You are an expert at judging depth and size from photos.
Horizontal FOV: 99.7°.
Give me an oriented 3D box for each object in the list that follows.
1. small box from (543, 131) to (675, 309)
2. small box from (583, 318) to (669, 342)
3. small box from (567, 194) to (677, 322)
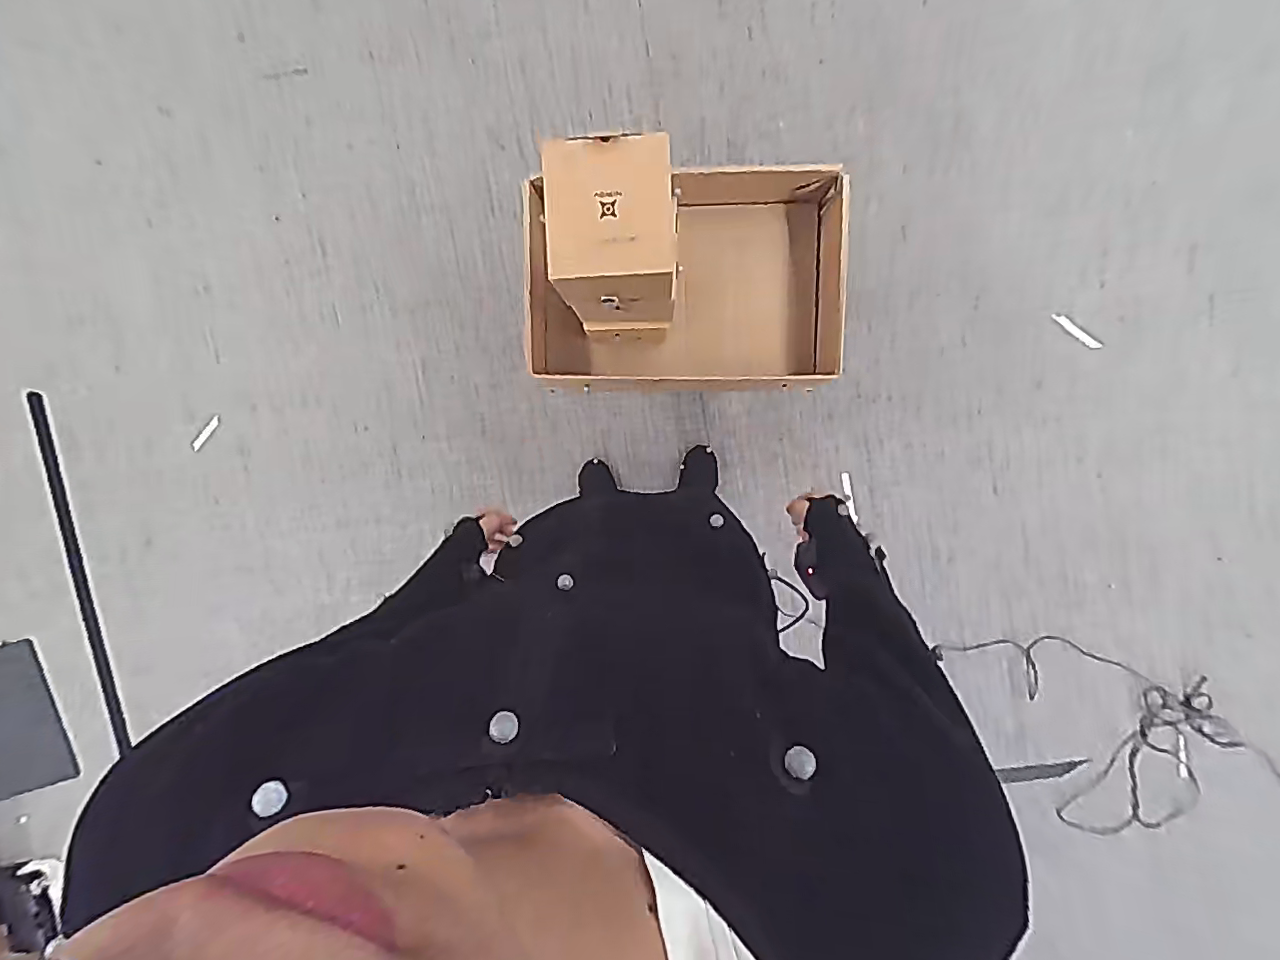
[{"bbox_3d":[-0.037,-0.353,0.762,0.168,0.176,0.179,-2,95,3],"label":"small box"},{"bbox_3d":[-0.025,-0.377,1.090,0.168,0.176,0.179,-1,95,1],"label":"small box"},{"bbox_3d":[-0.027,-0.369,0.925,0.179,0.176,0.168,0,95,1],"label":"small box"}]
